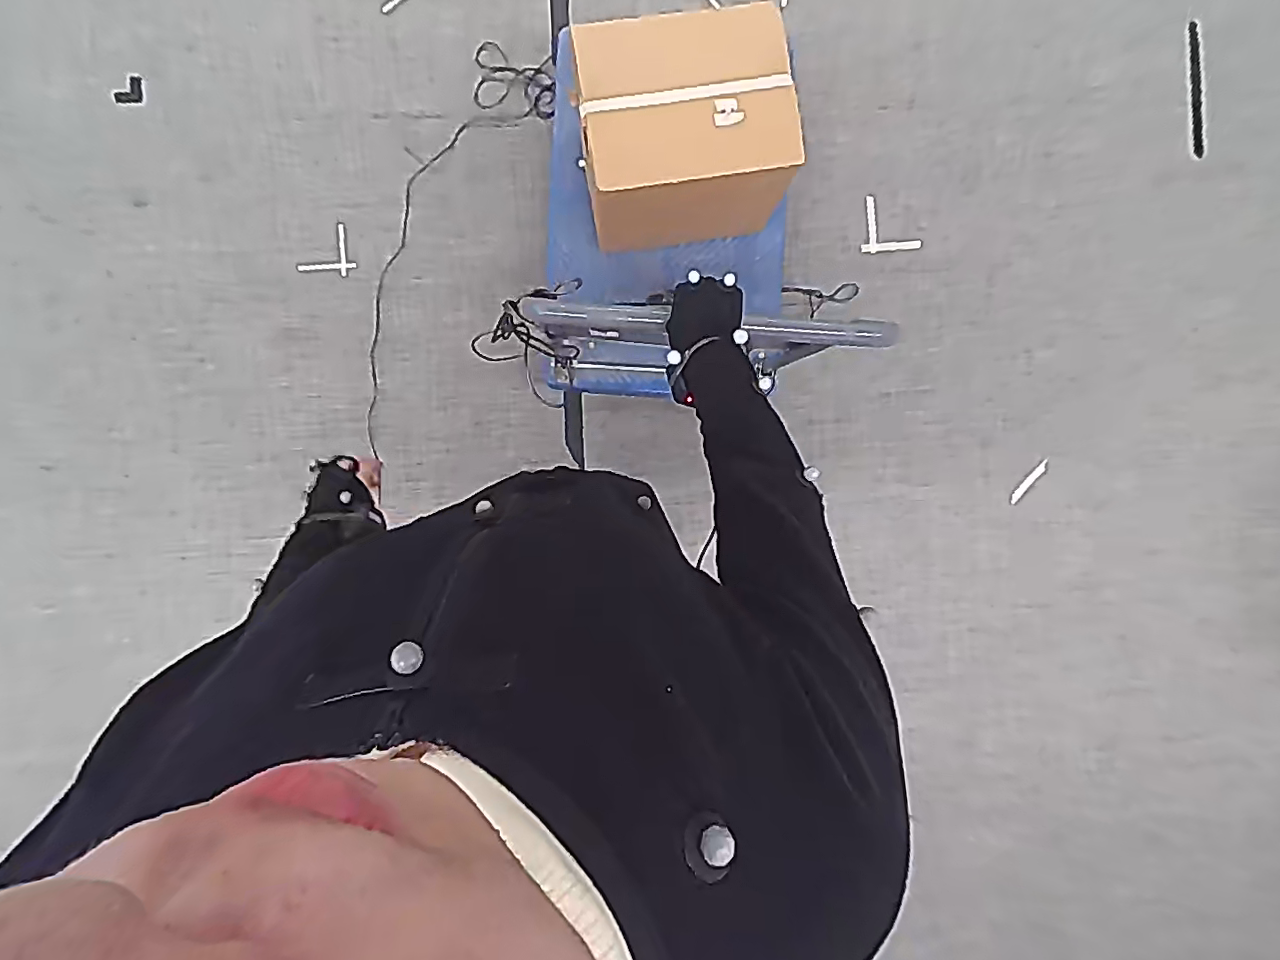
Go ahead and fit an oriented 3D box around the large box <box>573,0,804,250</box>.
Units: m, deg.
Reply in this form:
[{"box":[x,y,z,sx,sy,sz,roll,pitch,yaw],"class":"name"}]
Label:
[{"box":[0.084,-0.732,1.164,0.408,0.320,0.320,-10,93,-4],"class":"large box"}]
